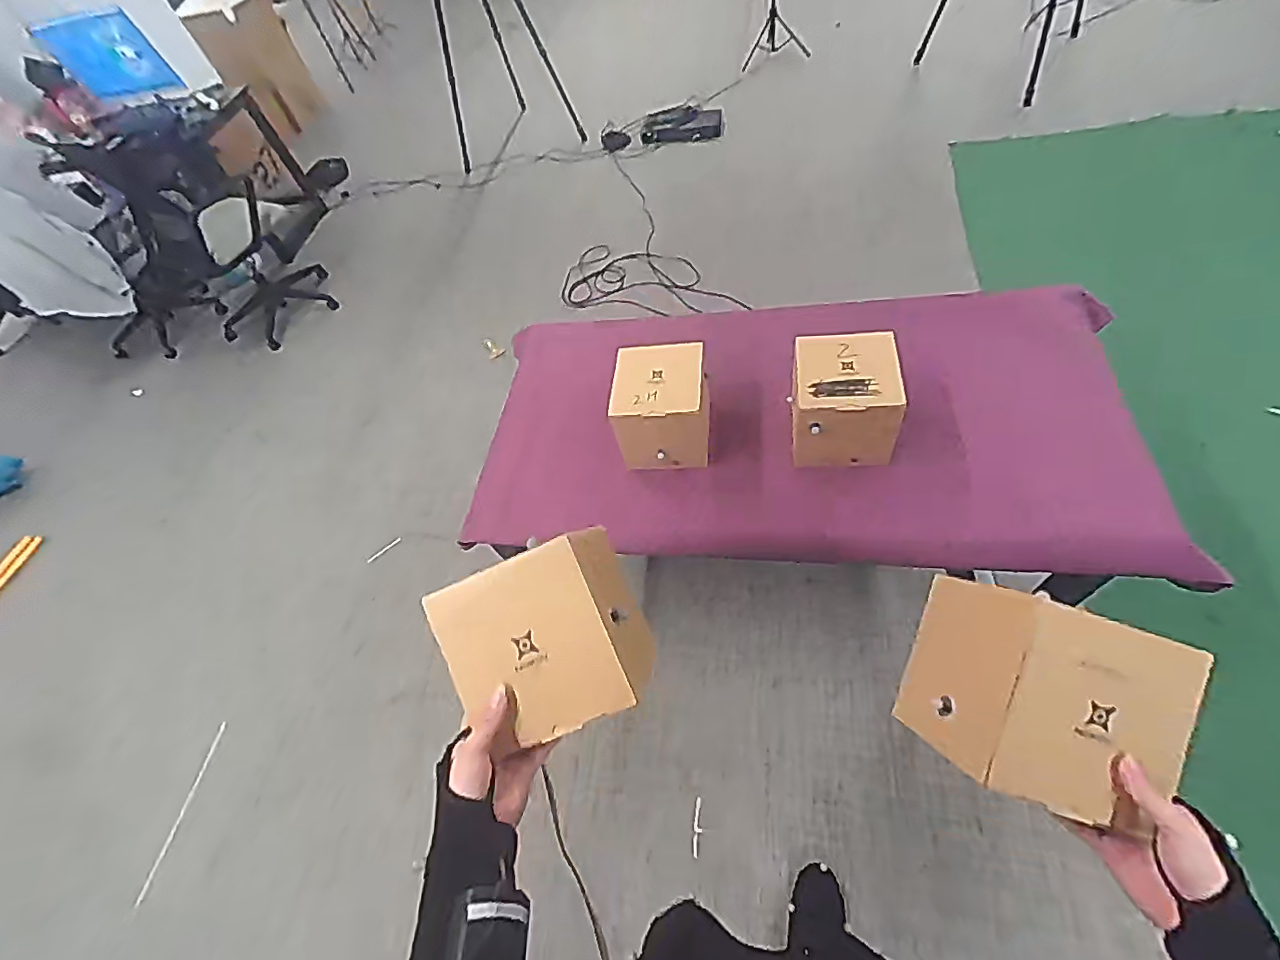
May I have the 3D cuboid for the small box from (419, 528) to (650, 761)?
[{"bbox_3d":[-0.100,0.160,0.589,0.168,0.176,0.179,-24,86,6],"label":"small box"}]

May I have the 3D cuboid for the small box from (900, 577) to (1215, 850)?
[{"bbox_3d":[0.394,0.213,0.545,0.168,0.176,0.179,19,86,0],"label":"small box"}]

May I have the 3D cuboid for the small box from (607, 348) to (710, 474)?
[{"bbox_3d":[0.045,-0.131,1.044,0.168,0.176,0.179,-1,56,12],"label":"small box"}]
